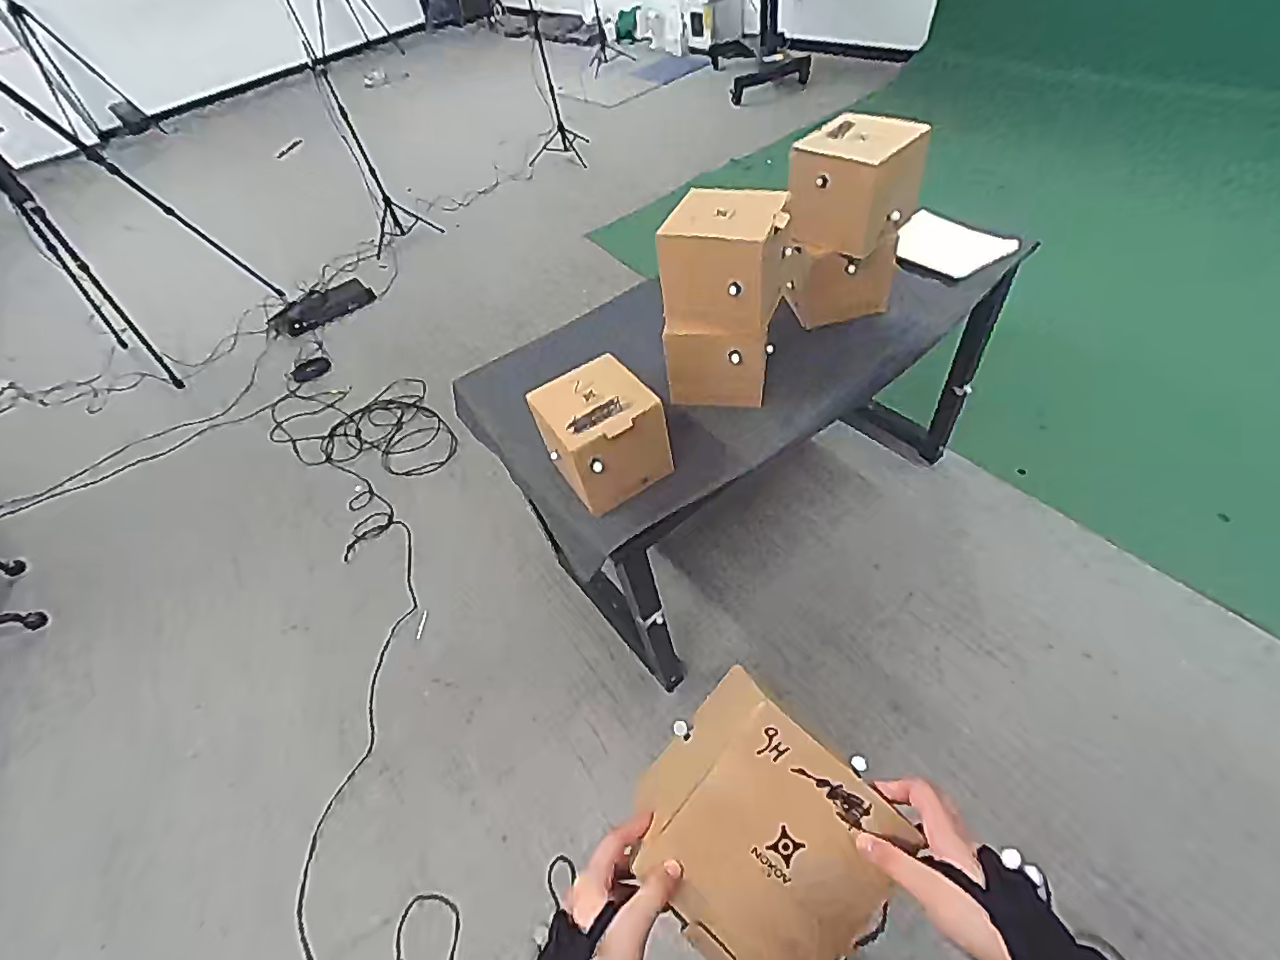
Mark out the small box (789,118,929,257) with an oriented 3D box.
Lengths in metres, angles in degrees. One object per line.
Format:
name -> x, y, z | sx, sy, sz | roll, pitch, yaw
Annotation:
small box -> 0.396, -0.544, 1.009 | 0.168, 0.176, 0.179 | -39, 54, -19

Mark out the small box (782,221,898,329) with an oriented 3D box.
small box -> 0.411, -0.448, 1.143 | 0.179, 0.176, 0.168 | -13, 49, 2

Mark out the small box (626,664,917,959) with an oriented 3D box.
small box -> 0.109, 0.304, 0.508 | 0.168, 0.176, 0.179 | 41, 85, 8

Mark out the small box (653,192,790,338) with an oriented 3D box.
small box -> 0.142, -0.360, 0.911 | 0.179, 0.176, 0.168 | 14, 54, 22

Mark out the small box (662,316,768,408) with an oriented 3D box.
small box -> 0.150, -0.253, 1.034 | 0.179, 0.176, 0.168 | 4, 51, 15
